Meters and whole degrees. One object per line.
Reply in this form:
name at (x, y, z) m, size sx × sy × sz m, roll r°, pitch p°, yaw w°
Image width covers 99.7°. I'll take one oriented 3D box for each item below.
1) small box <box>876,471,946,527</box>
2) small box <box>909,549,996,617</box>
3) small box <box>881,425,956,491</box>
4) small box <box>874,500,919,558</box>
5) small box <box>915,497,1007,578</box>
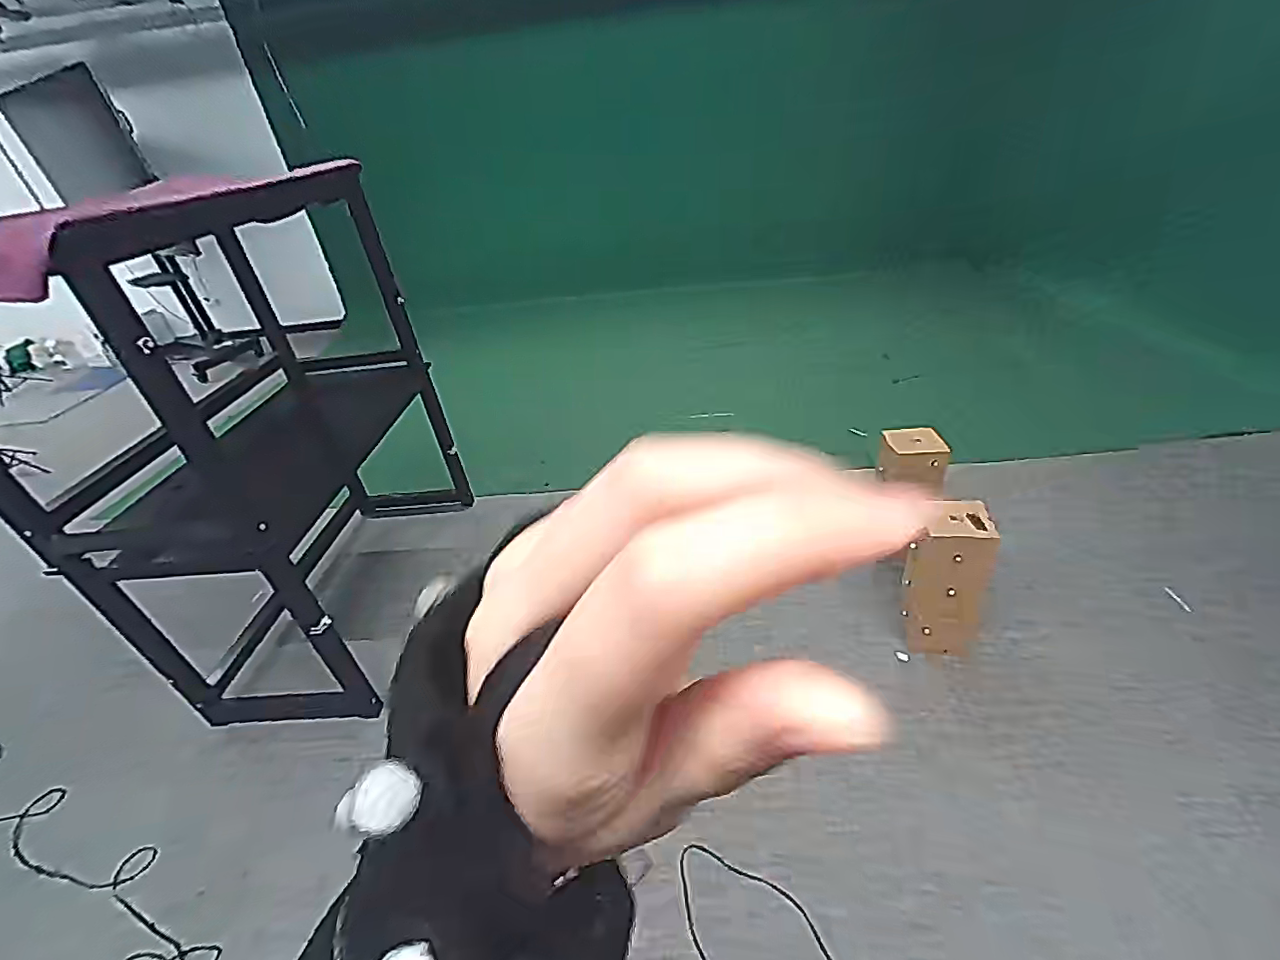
small box at (0.991, 0.058, 1.988) m, size 0.179 × 0.176 × 0.168 m, roll -5°, pitch 33°, yaw 7°
small box at (0.943, 0.301, 1.650) m, size 0.179 × 0.176 × 0.168 m, roll -1°, pitch 35°, yaw 12°
small box at (0.968, -0.075, 1.893) m, size 0.179 × 0.176 × 0.168 m, roll -4°, pitch 33°, yaw 6°
small box at (1.011, 0.189, 2.083) m, size 0.179 × 0.176 × 0.168 m, roll -3°, pitch 35°, yaw 9°
small box at (0.915, 0.167, 1.558) m, size 0.179 × 0.176 × 0.168 m, roll 0°, pitch 35°, yaw 14°
